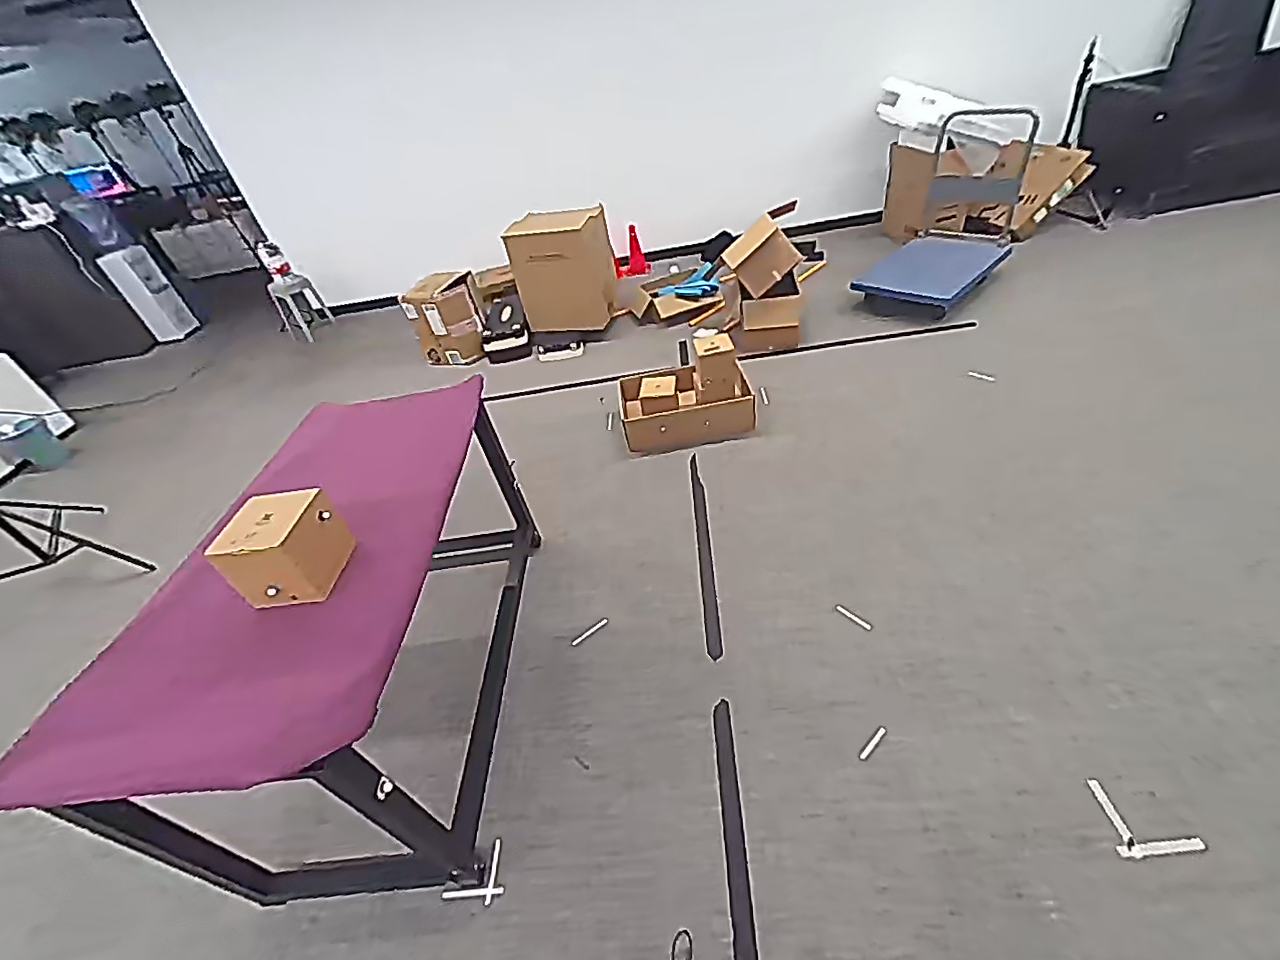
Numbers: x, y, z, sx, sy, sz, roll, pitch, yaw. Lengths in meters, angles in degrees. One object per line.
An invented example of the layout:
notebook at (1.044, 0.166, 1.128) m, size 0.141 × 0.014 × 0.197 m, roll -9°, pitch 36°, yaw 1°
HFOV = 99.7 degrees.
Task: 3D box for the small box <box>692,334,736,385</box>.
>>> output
small box at (0.345, -0.553, 2.507) m, size 0.168 × 0.176 × 0.179 m, roll -10°, pitch 38°, yaw 3°

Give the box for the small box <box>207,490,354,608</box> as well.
small box at (-0.745, 0.147, 1.151) m, size 0.168 × 0.176 × 0.179 m, roll -8°, pitch 39°, yaw 7°

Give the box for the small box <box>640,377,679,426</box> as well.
small box at (0.098, -0.382, 2.632) m, size 0.168 × 0.176 × 0.179 m, roll -3°, pitch 40°, yaw 10°
